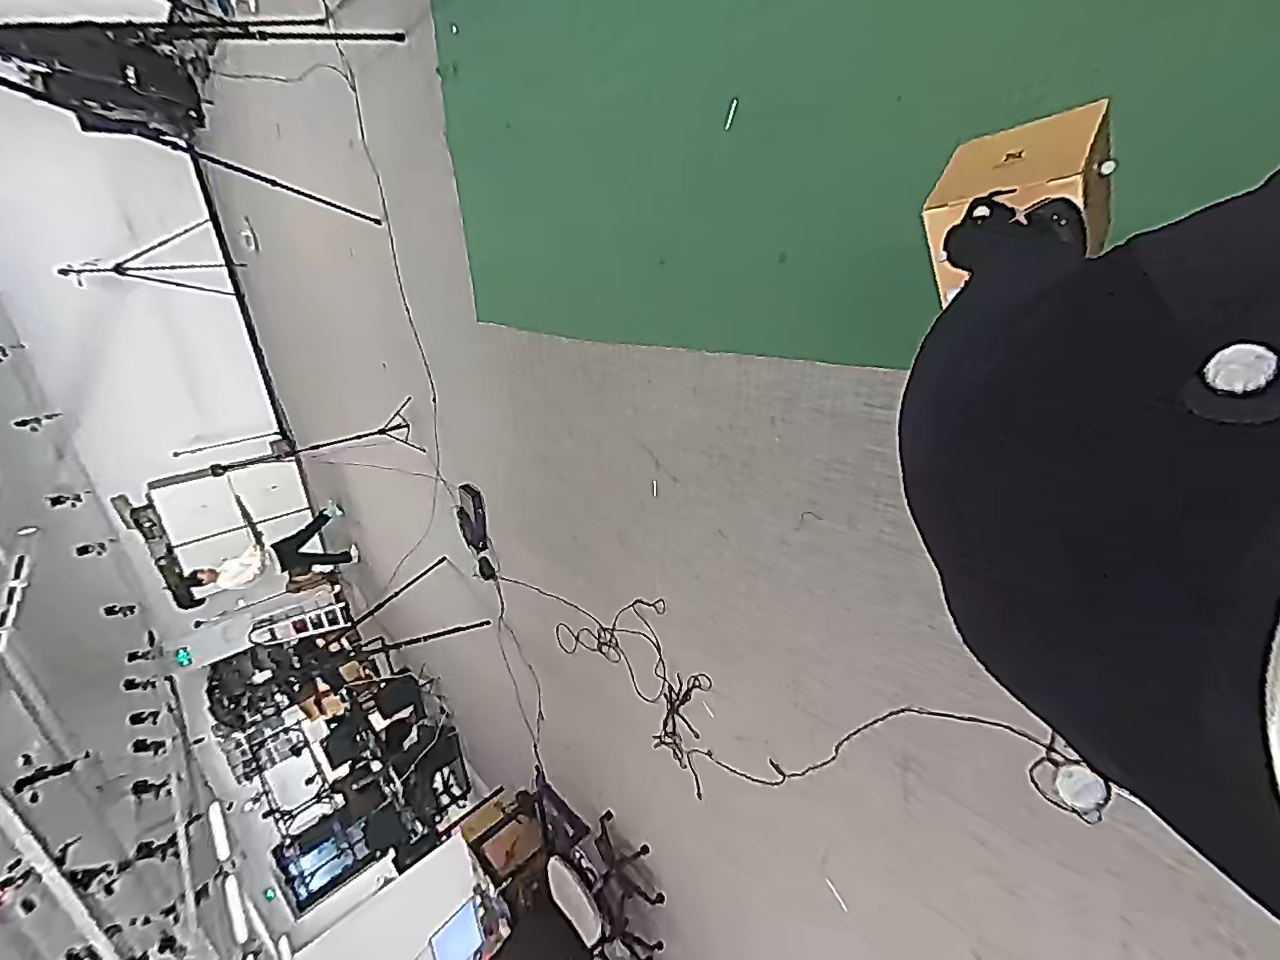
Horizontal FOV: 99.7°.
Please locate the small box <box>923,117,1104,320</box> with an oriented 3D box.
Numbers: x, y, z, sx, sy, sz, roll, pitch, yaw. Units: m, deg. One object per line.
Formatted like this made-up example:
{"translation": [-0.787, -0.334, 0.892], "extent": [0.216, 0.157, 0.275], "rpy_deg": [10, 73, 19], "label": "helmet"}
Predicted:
{"translation": [0.514, -0.345, 0.741], "extent": [0.168, 0.179, 0.176], "rpy_deg": [7, 143, 46], "label": "small box"}
